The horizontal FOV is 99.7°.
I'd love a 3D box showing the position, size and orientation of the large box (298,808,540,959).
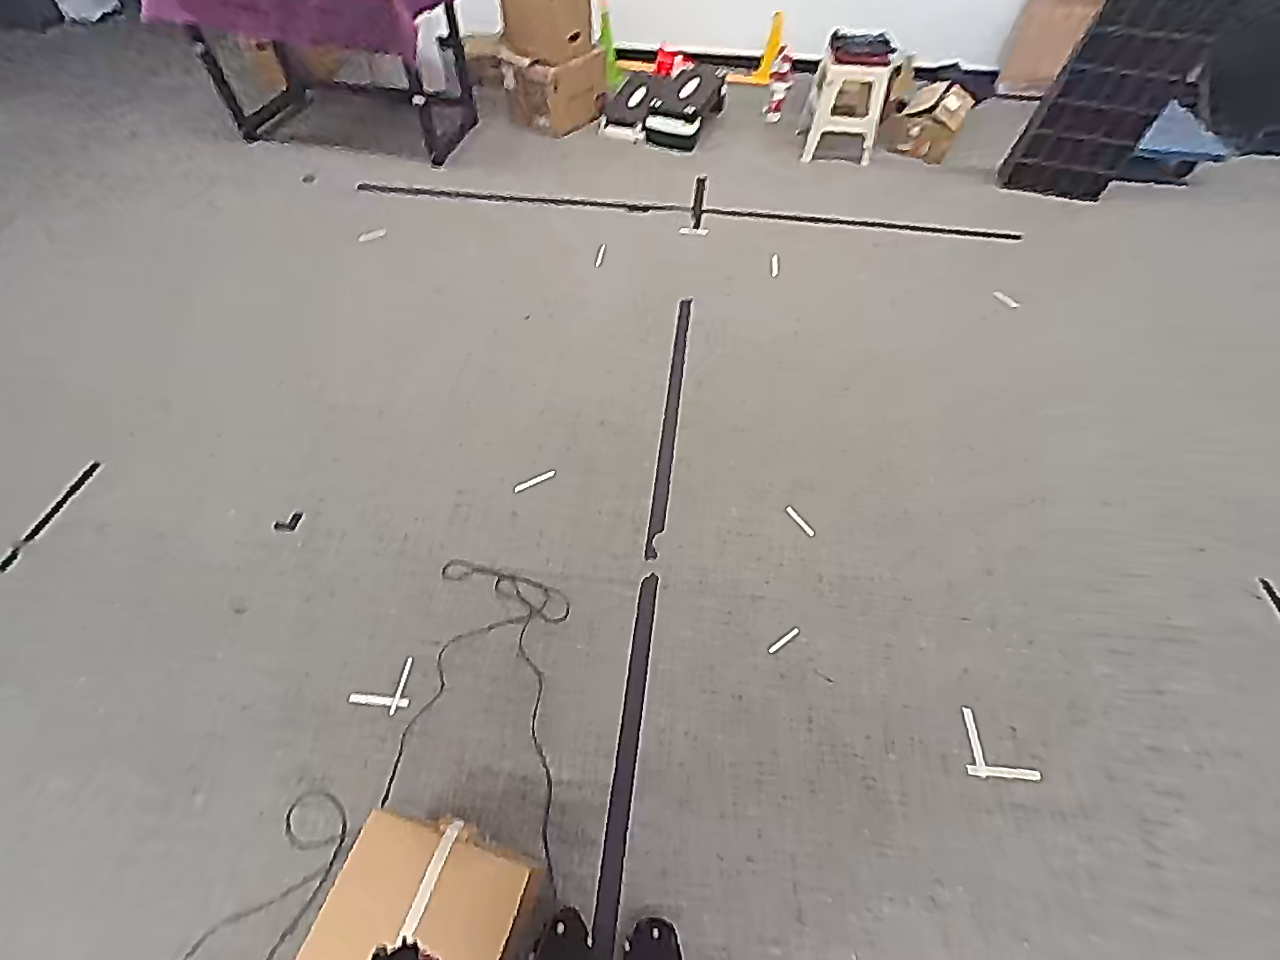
[{"bbox_3d":[-0.411,0.883,1.001,0.320,0.320,0.408,16,57,8],"label":"large box"}]
